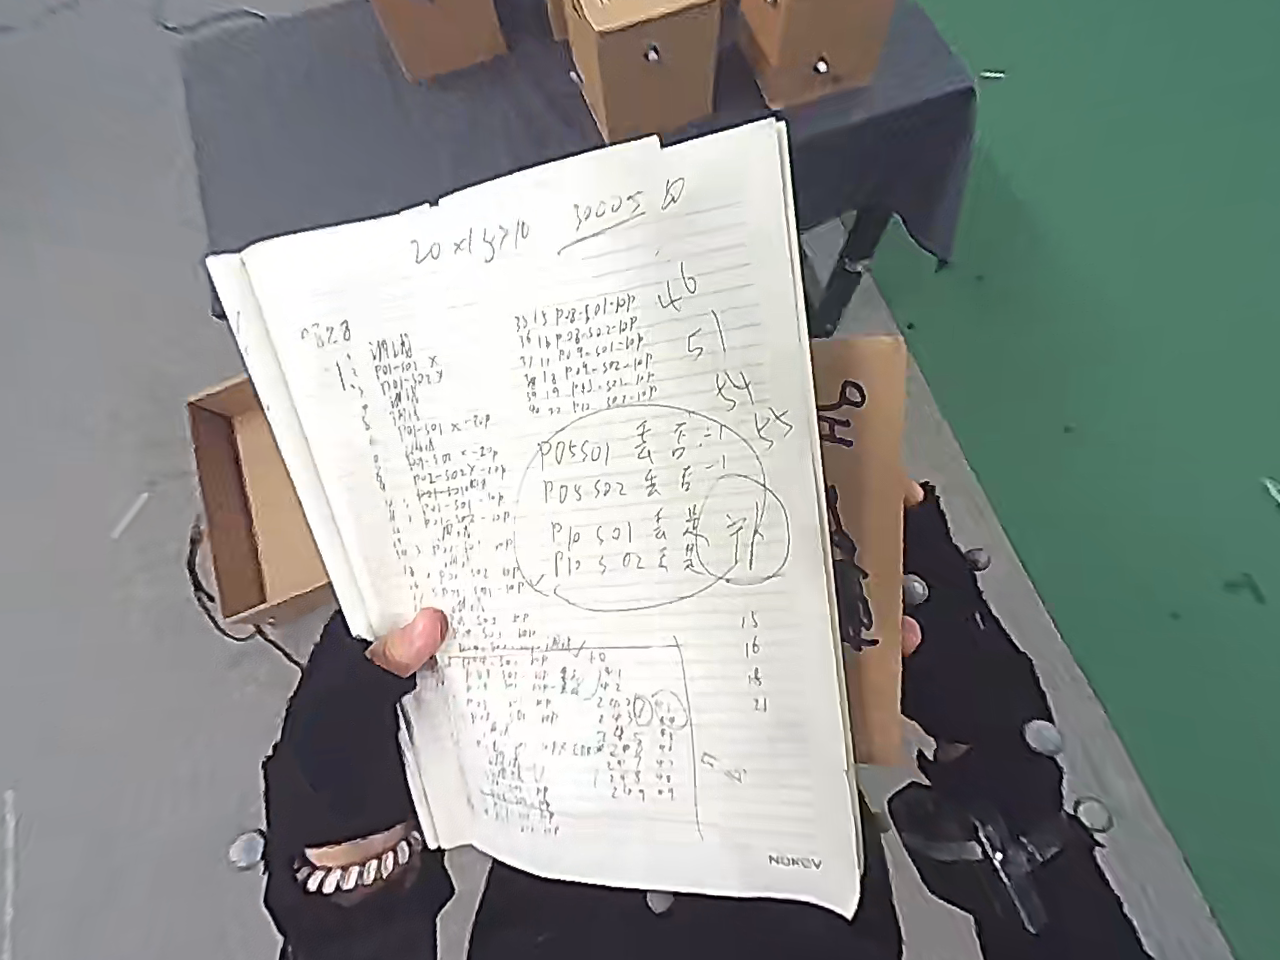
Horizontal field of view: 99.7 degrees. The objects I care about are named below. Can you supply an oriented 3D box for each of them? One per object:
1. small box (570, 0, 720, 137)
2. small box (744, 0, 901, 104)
[{"bbox_3d":[0.006,-0.647,0.791,0.179,0.176,0.168,-20,73,-4],"label":"small box"},{"bbox_3d":[0.261,-0.706,0.797,0.168,0.176,0.179,-15,73,-1],"label":"small box"}]
